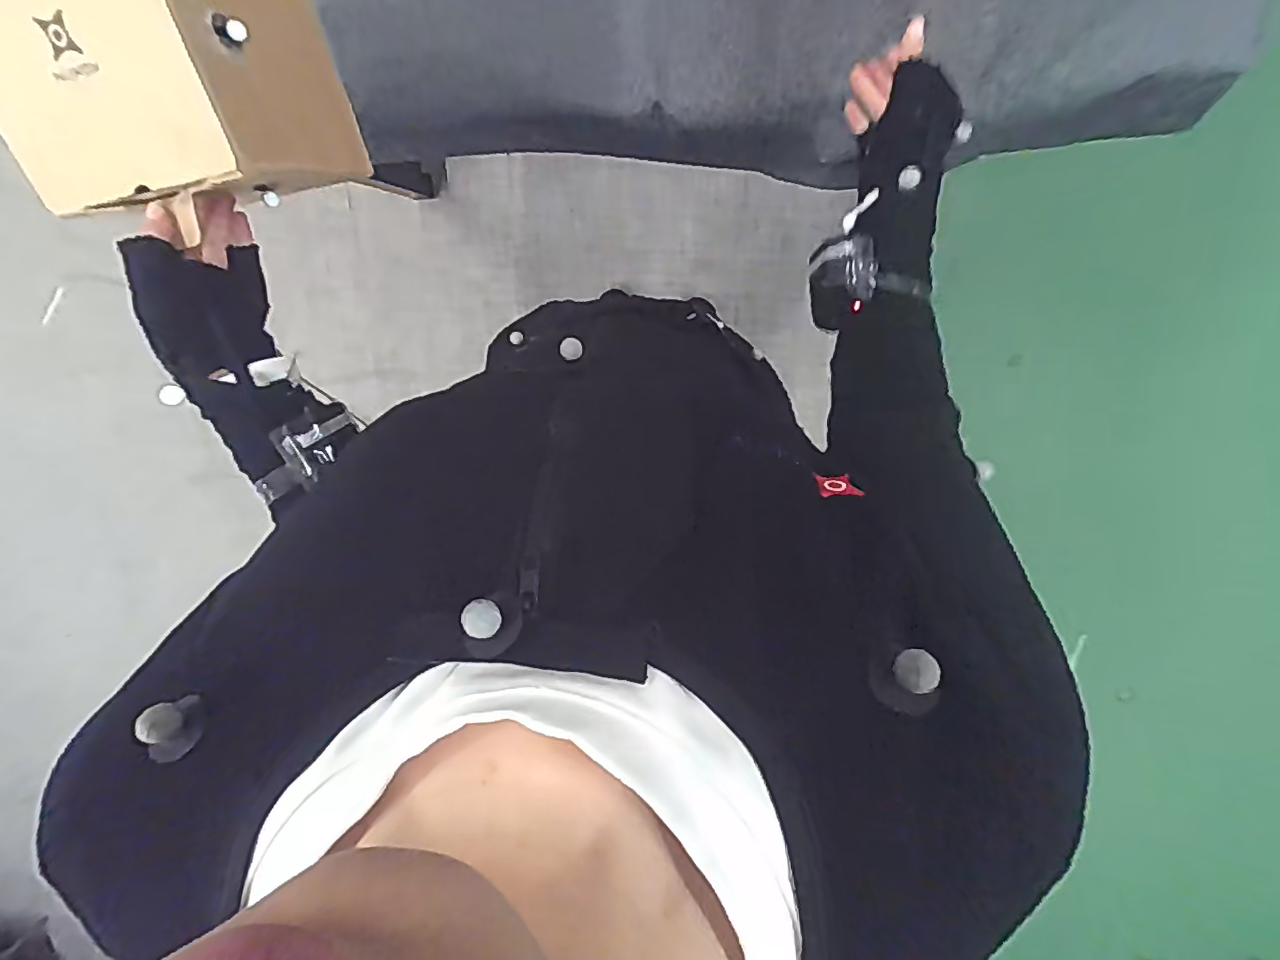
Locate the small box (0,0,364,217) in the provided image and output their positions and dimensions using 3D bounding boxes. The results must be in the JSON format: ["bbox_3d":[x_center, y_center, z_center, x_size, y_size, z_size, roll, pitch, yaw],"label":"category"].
[{"bbox_3d":[-0.347,-0.310,0.403,0.168,0.176,0.179,-6,117,10],"label":"small box"}]
